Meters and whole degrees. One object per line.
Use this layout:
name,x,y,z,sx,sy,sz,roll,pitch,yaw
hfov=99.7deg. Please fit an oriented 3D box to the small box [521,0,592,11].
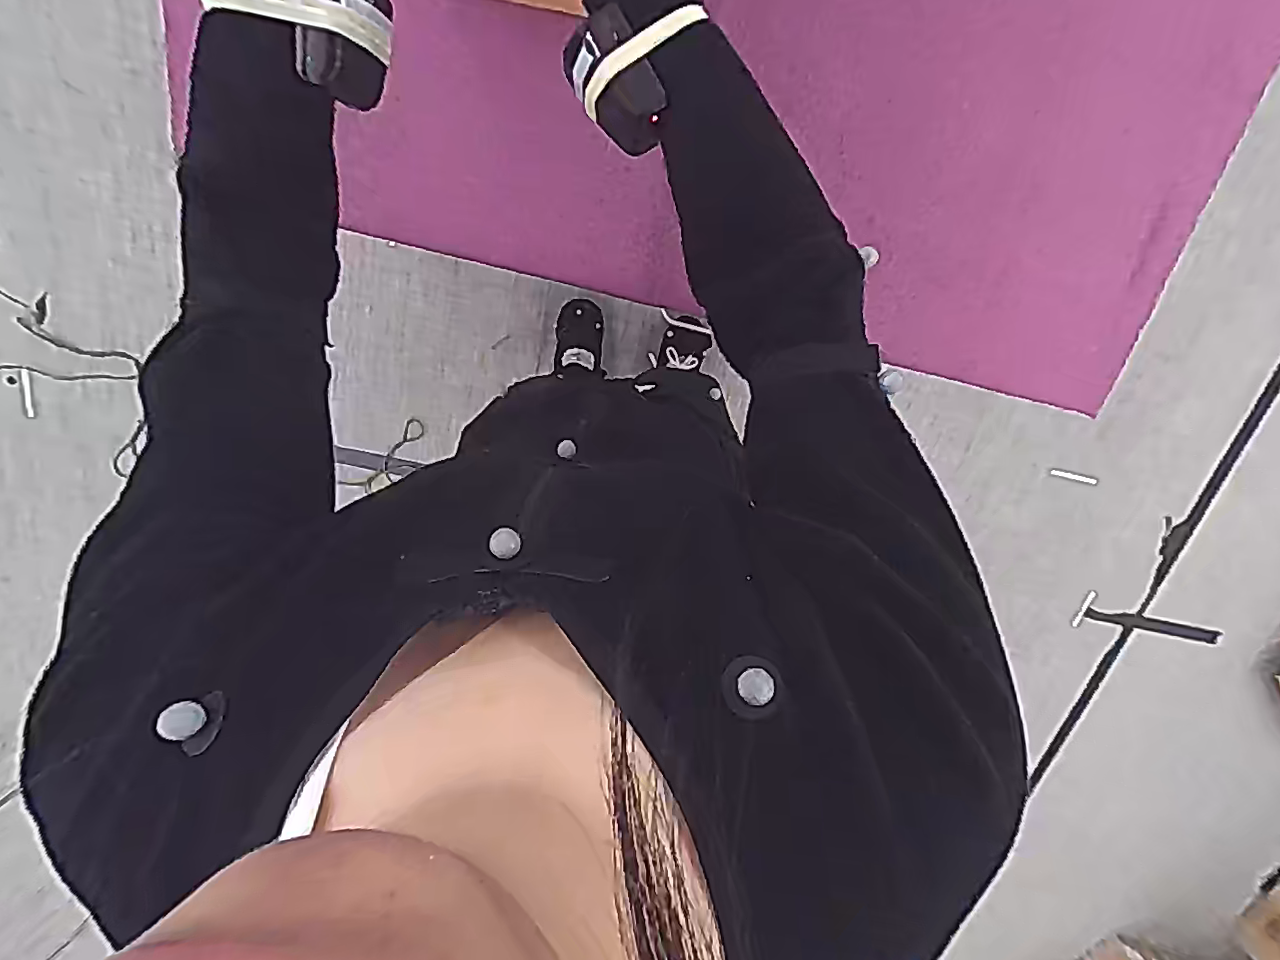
small box,-0.109,-0.559,0.475,0.179,0.176,0.168,8,110,-6
